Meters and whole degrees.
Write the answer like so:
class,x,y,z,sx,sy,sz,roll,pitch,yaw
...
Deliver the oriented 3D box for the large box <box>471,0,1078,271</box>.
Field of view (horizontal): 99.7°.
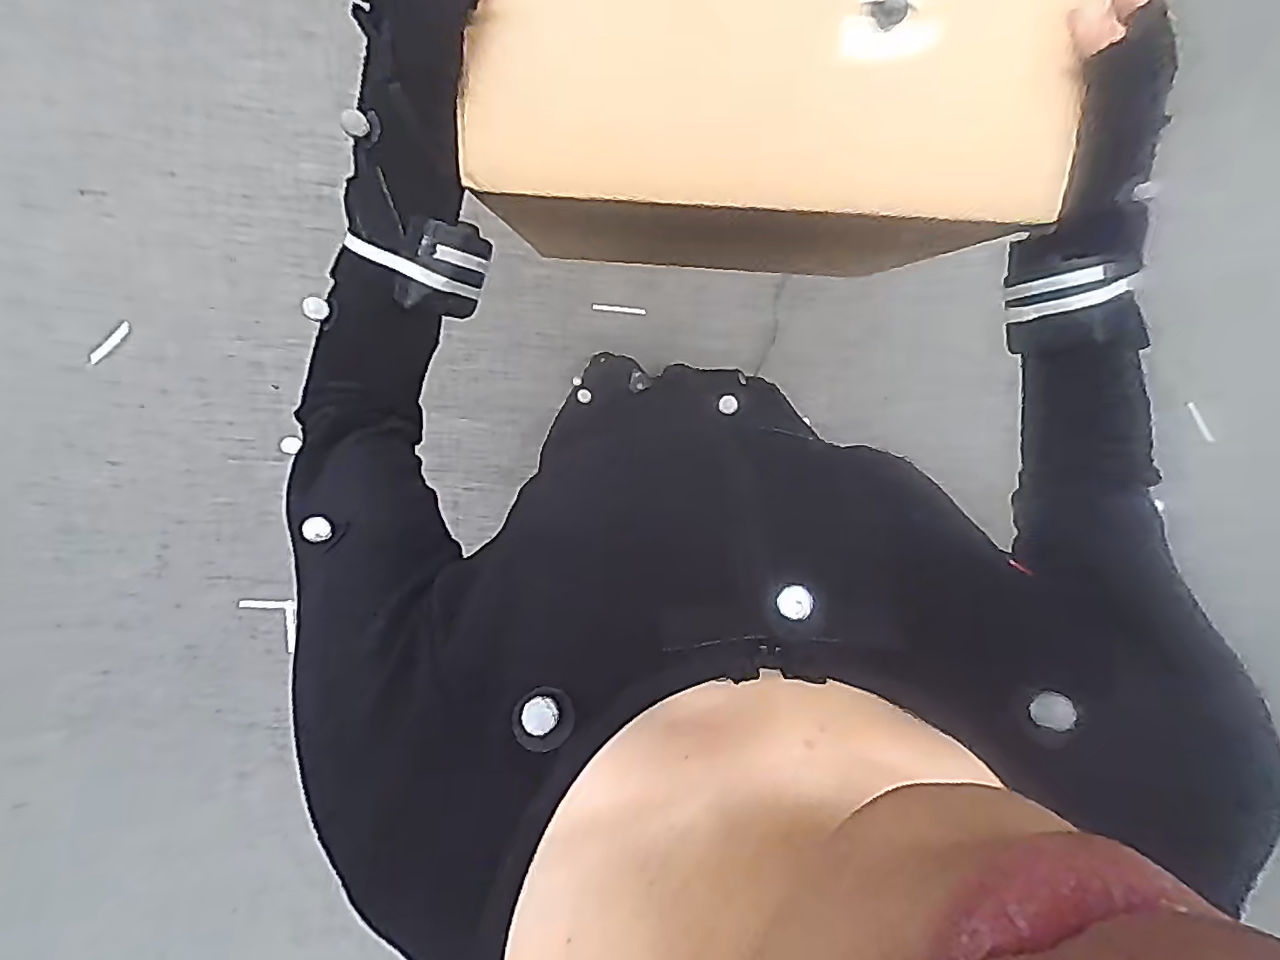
class,x,y,z,sx,sy,sz,roll,pitch,yaw
large box,0.086,-0.379,0.489,0.408,0.320,0.320,2,104,-2
